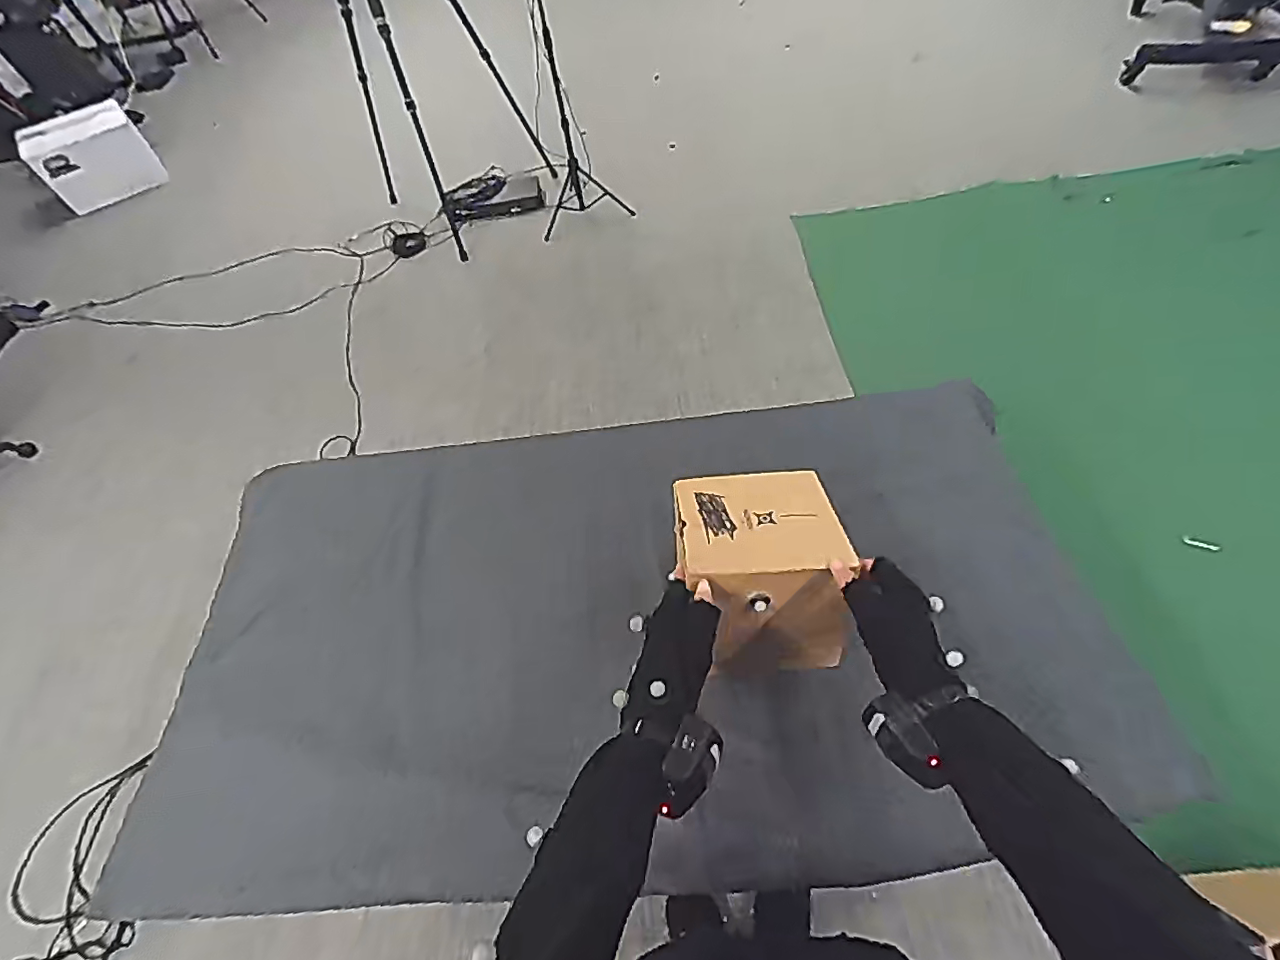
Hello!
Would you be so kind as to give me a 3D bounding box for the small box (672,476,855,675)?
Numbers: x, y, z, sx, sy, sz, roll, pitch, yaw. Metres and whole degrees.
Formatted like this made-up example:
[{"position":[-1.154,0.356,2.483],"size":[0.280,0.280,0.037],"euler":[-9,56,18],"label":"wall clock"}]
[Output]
[{"position":[0.133,0.113,0.641],"size":[0.179,0.176,0.168],"euler":[-3,33,1],"label":"small box"}]
